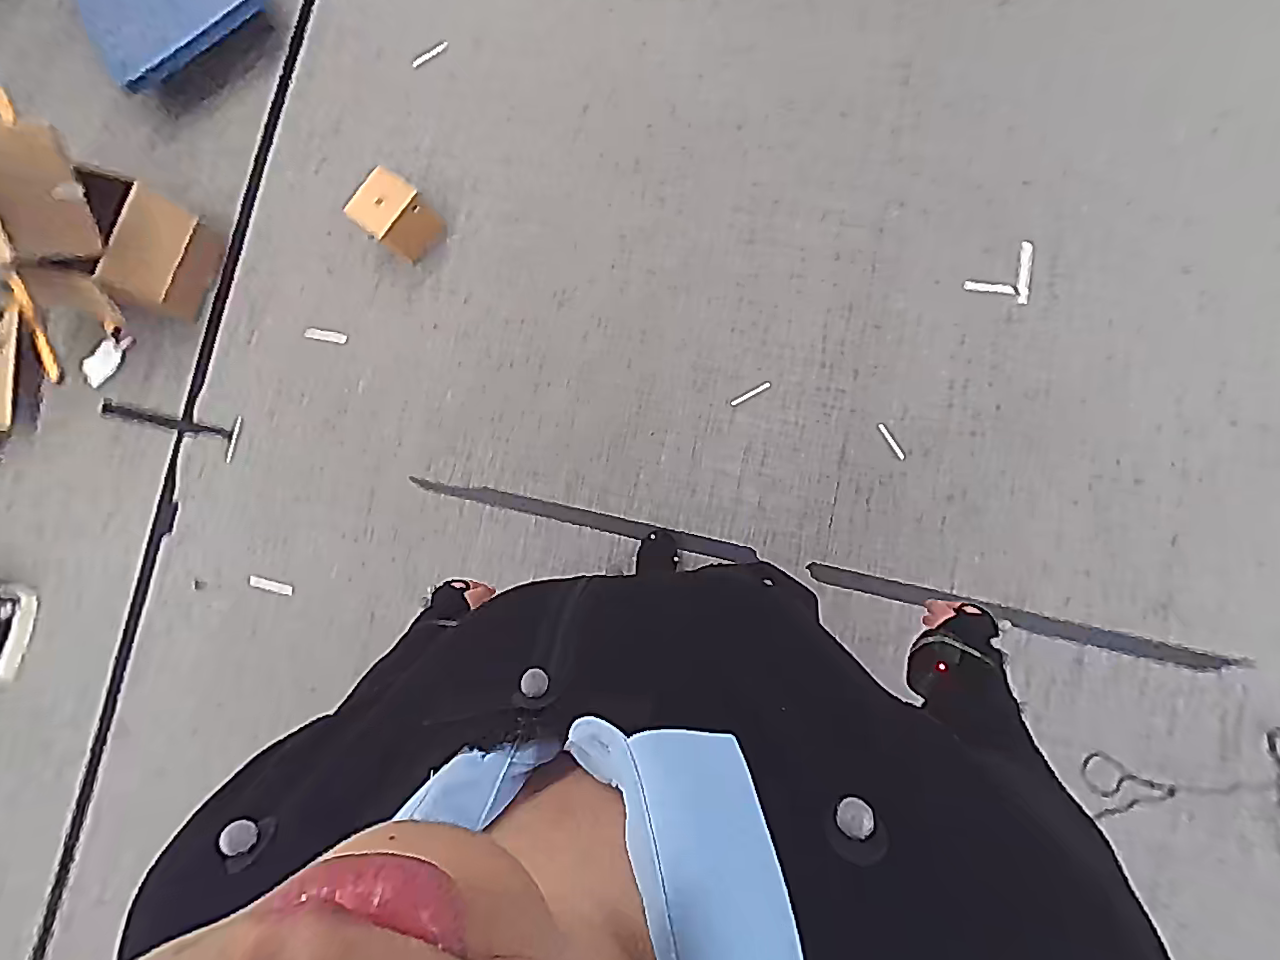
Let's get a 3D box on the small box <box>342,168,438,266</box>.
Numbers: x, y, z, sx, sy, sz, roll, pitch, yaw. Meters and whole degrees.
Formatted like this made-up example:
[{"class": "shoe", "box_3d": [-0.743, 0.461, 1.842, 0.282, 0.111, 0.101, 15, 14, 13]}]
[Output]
[{"class": "small box", "box_3d": [-0.758, -0.798, 1.659, 0.168, 0.176, 0.179, 36, 88, 11]}]
